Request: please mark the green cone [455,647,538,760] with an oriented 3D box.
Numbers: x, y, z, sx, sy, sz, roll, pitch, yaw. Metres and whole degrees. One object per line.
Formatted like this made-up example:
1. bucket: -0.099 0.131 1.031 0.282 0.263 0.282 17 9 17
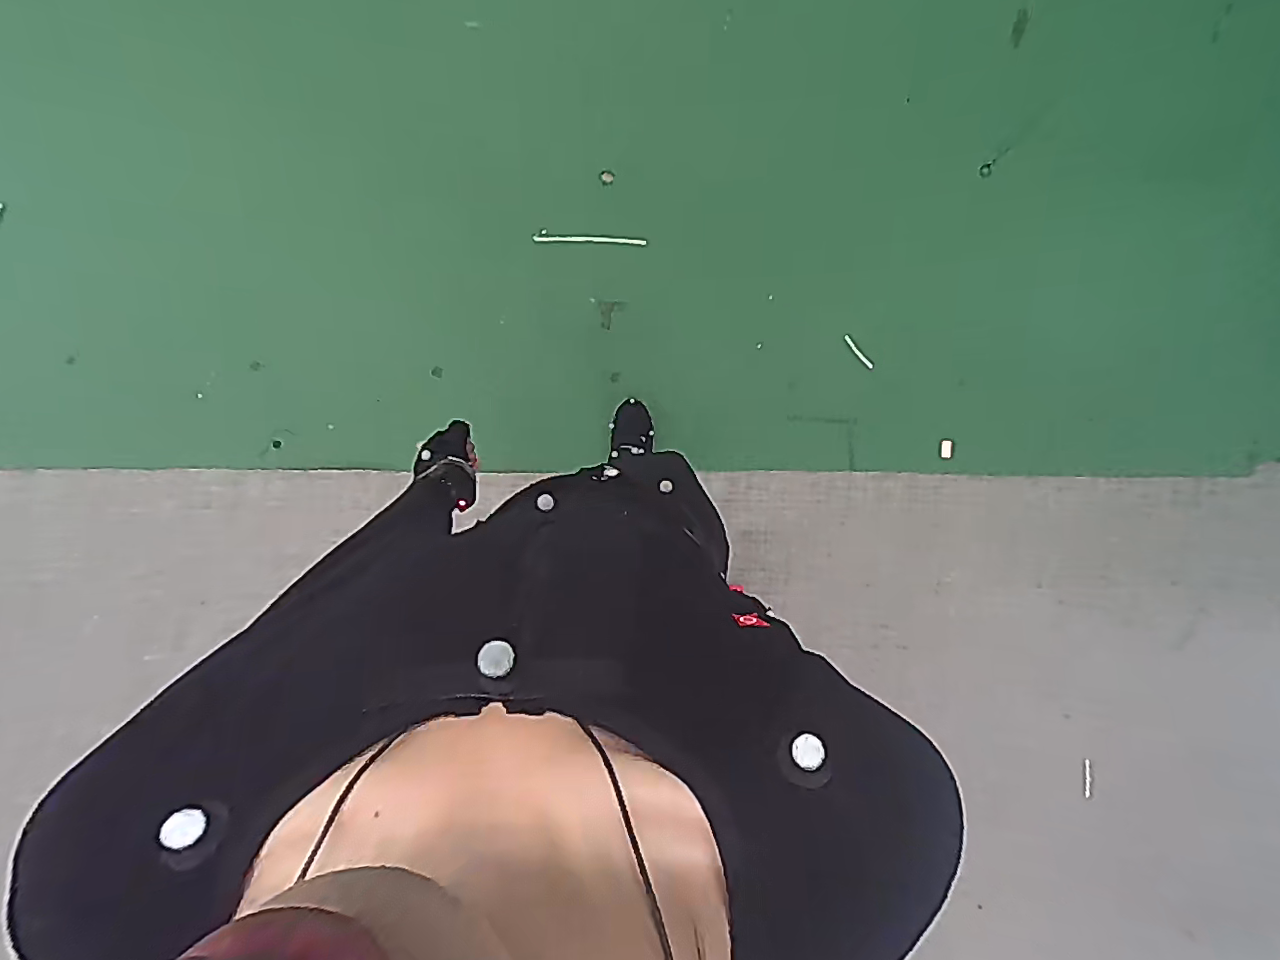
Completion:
1. green cone: -0.381 0.566 1.323 0.200 0.368 0.202 3 91 -1
